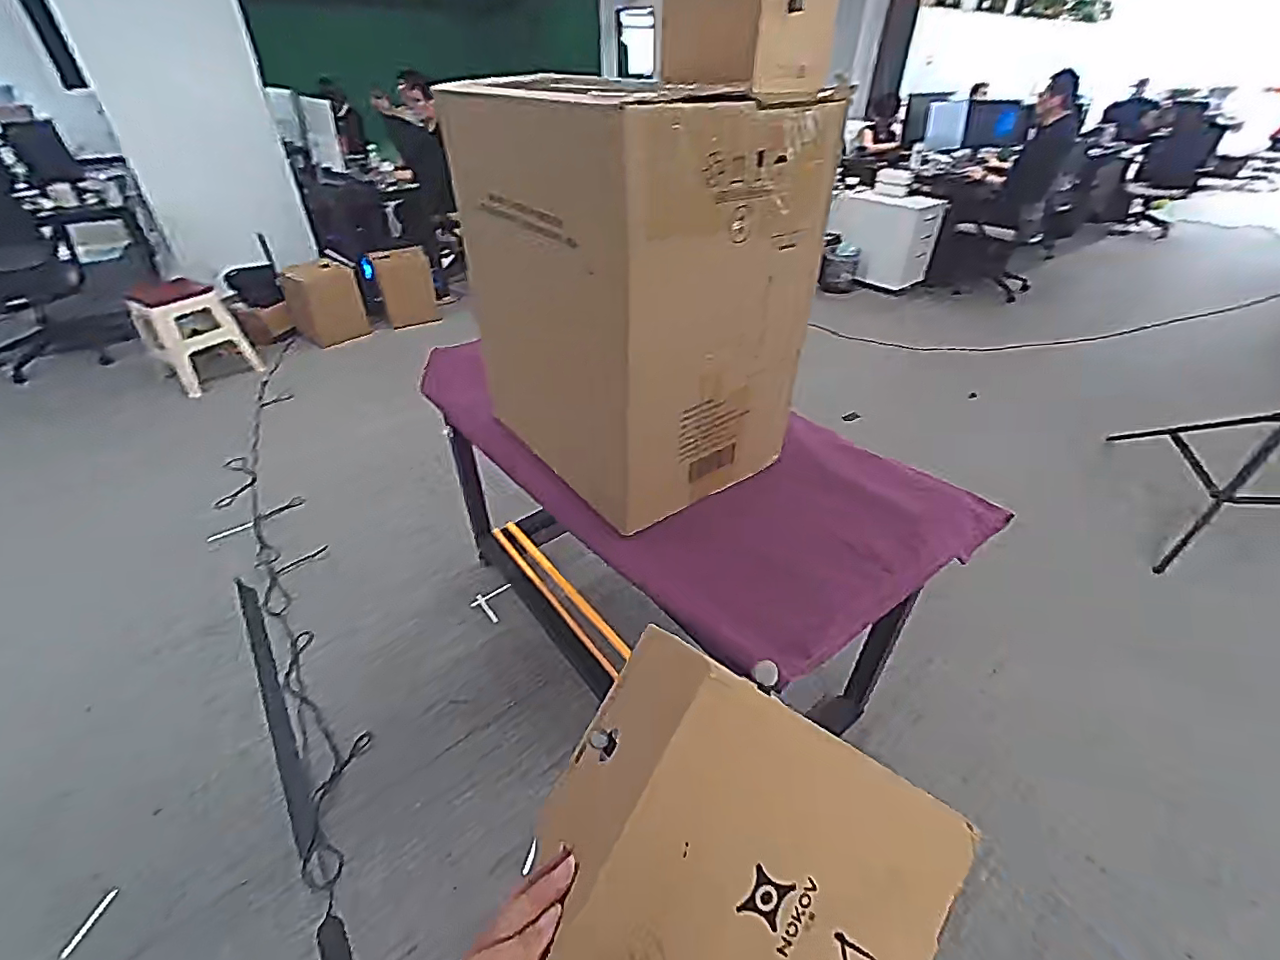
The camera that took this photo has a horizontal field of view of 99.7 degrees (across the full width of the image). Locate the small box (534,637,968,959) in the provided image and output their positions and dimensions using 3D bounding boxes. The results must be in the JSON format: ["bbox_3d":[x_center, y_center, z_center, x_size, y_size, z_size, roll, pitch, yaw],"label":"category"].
[{"bbox_3d":[0.048,0.216,0.343,0.179,0.176,0.168,33,78,-5],"label":"small box"}]

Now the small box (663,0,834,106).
[{"bbox_3d":[0.148,-0.614,0.731,0.168,0.176,0.179,-29,45,-33],"label":"small box"}]
